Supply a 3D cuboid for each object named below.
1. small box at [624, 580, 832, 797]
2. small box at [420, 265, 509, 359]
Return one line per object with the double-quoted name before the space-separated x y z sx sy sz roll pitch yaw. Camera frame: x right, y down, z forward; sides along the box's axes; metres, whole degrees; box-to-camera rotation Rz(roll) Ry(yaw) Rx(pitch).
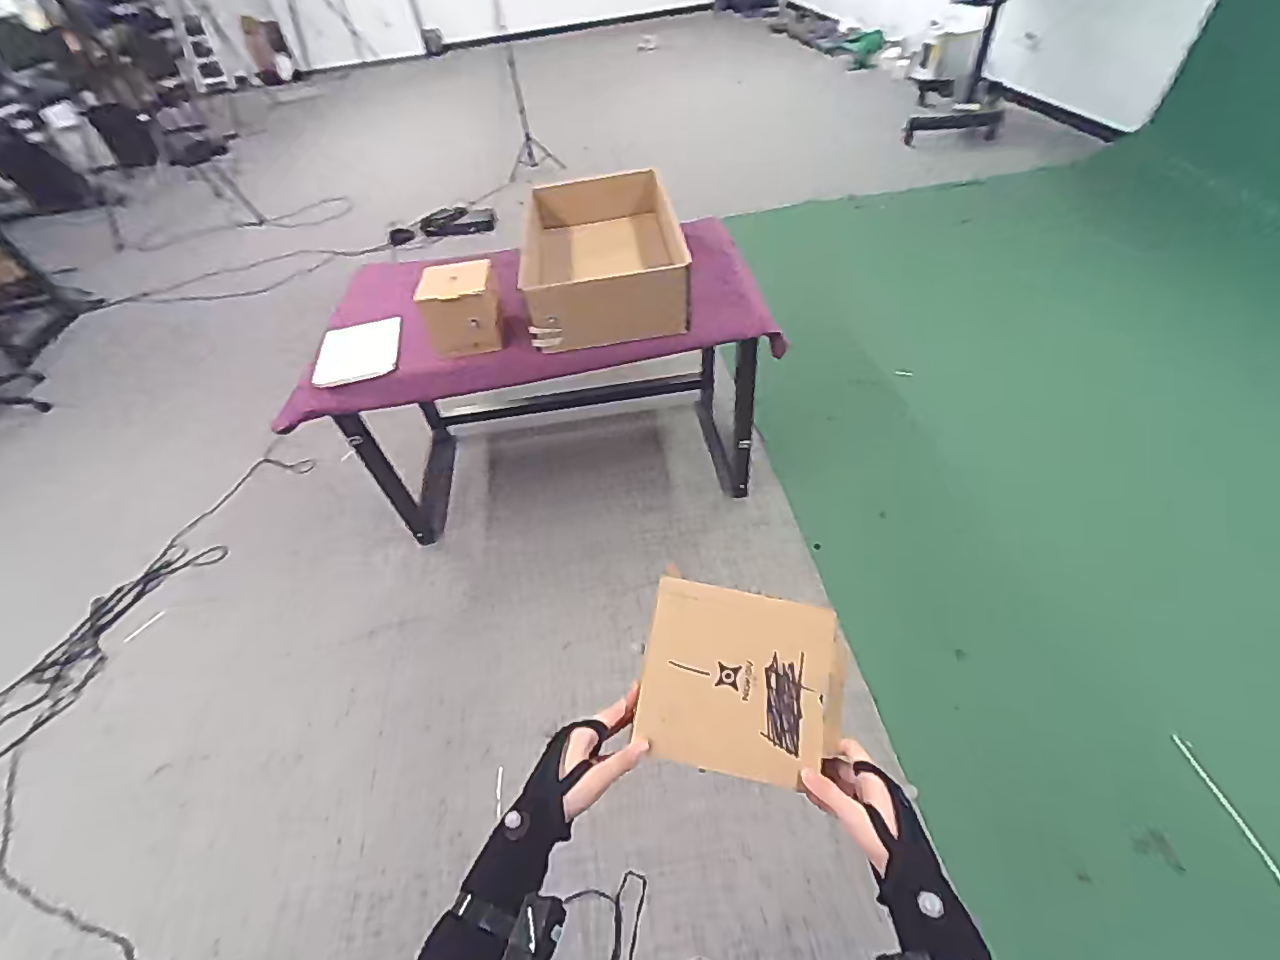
"small box" 0.086 0.213 0.584 0.179 0.176 0.168 11 73 3
"small box" -0.442 -0.425 1.390 0.168 0.176 0.179 -7 46 0
